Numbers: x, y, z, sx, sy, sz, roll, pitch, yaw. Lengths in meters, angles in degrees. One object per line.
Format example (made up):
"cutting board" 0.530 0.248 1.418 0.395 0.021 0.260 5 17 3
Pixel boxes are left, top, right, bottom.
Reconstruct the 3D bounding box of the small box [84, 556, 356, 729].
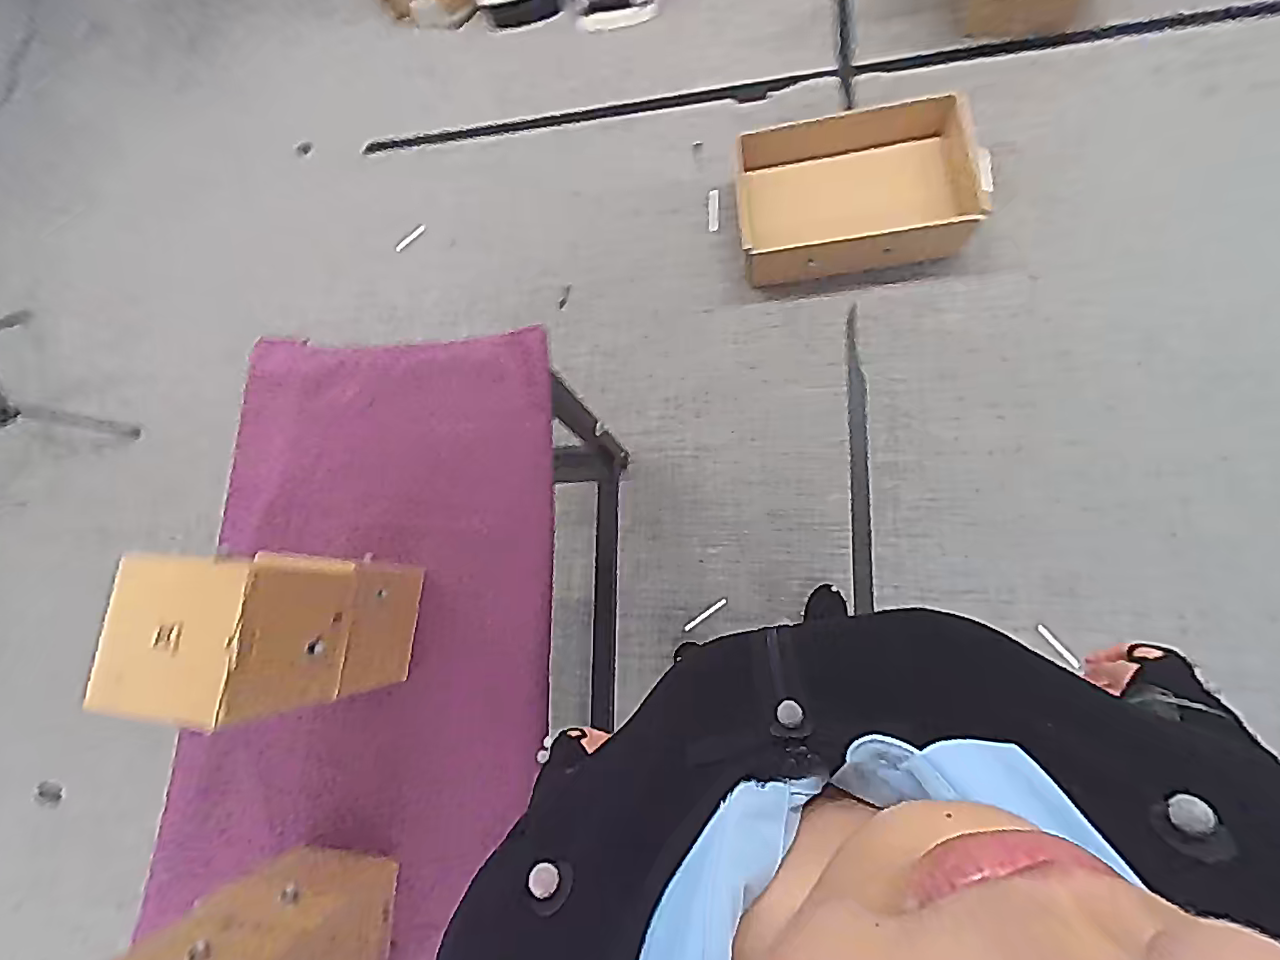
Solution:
"small box" -0.485 0.185 0.649 0.179 0.176 0.168 1 78 11

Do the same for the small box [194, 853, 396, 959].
"small box" -0.455 0.627 0.718 0.179 0.176 0.168 -1 77 11
